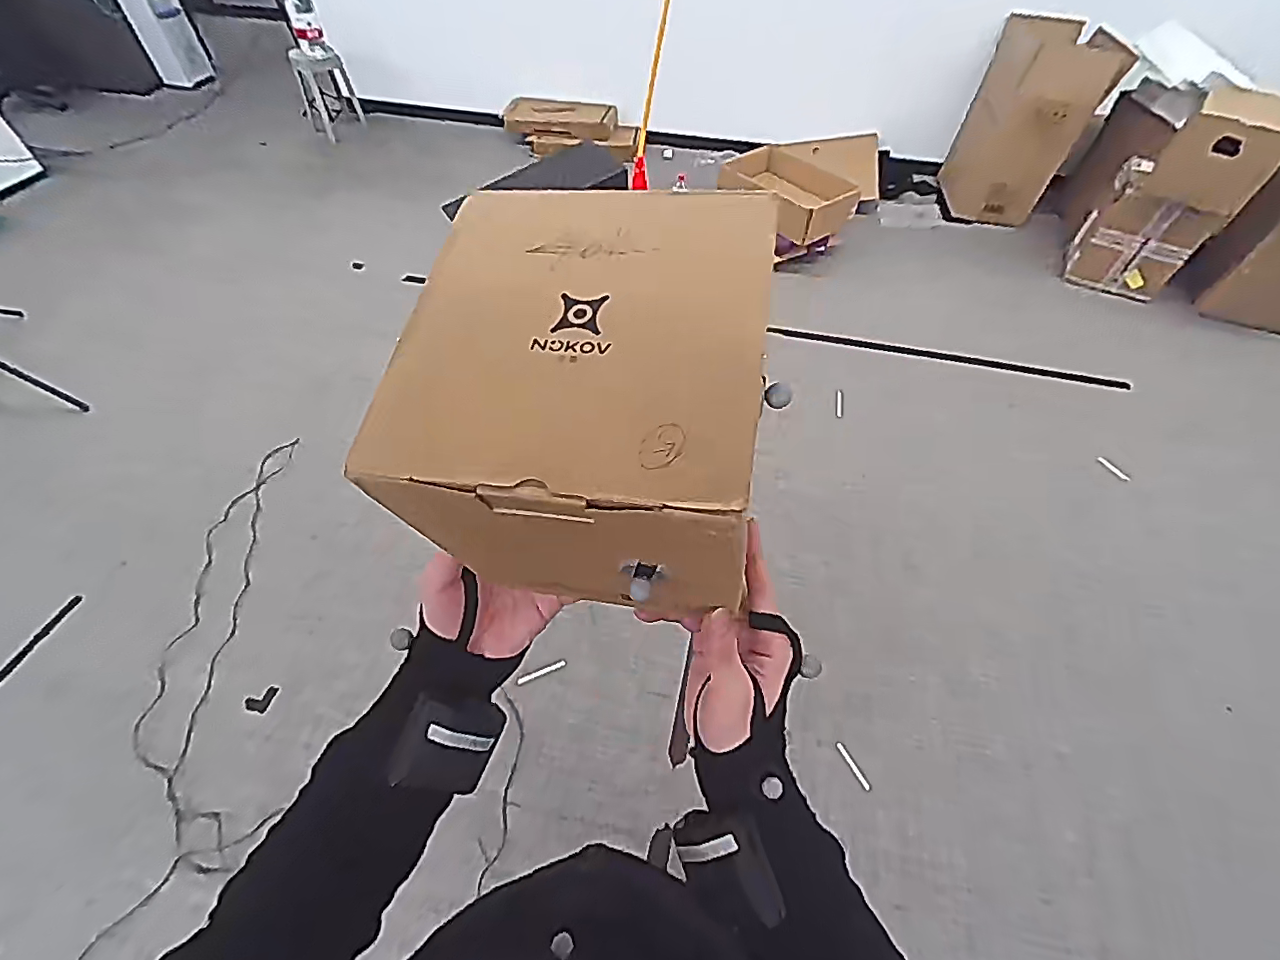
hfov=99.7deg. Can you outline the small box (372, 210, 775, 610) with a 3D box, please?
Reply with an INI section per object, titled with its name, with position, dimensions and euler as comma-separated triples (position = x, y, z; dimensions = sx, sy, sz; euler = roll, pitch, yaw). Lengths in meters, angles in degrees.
[small box]
position = -0.014, -0.031, 0.325
dimensions = 0.168, 0.176, 0.179
euler = 6, 64, 10
